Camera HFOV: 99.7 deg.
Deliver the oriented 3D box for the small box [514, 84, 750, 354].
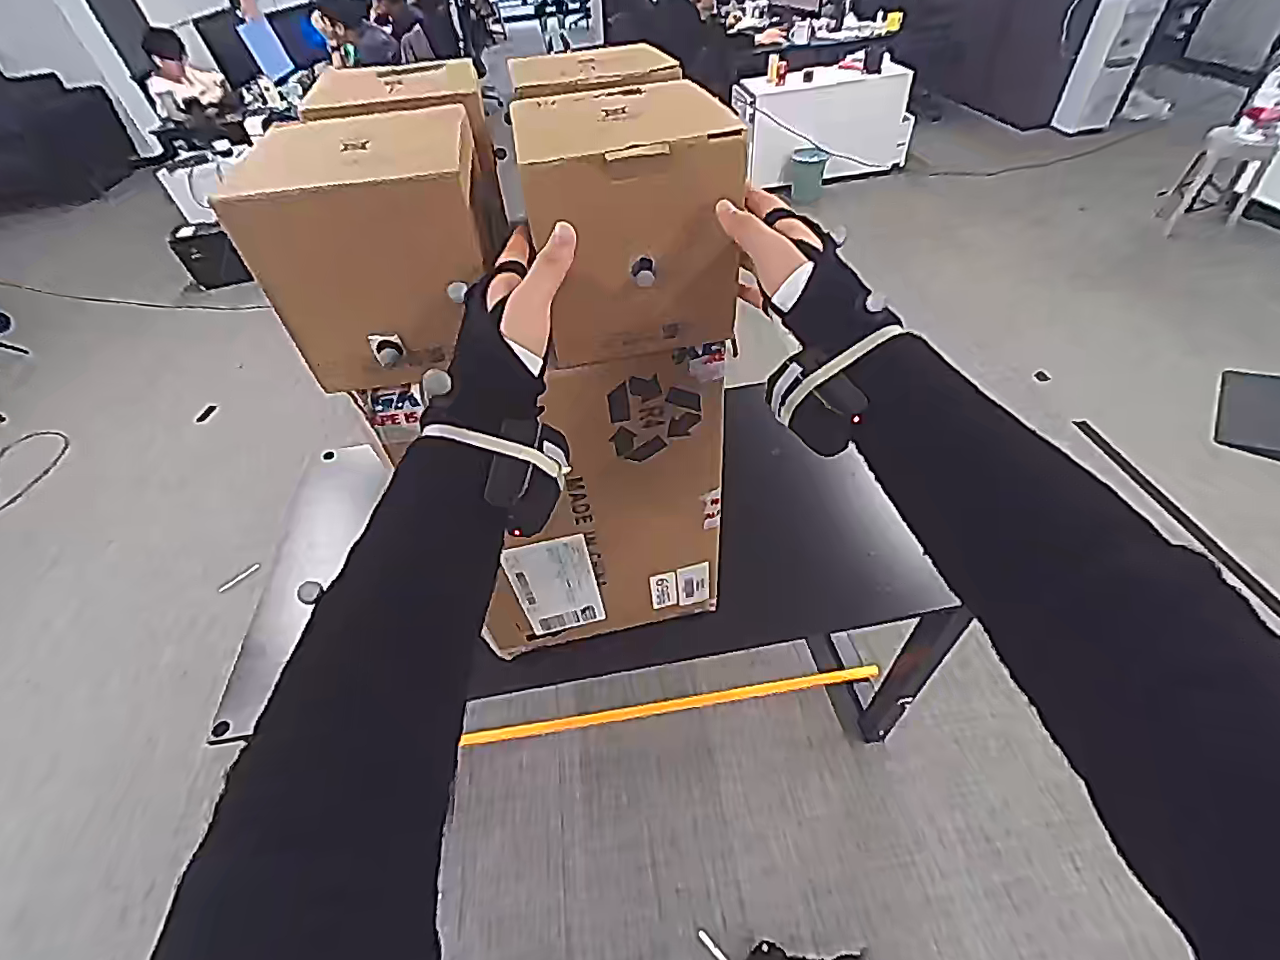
[{"bbox_3d":[-0.012,-0.227,0.486,0.168,0.176,0.179,-9,48,-6],"label":"small box"}]
